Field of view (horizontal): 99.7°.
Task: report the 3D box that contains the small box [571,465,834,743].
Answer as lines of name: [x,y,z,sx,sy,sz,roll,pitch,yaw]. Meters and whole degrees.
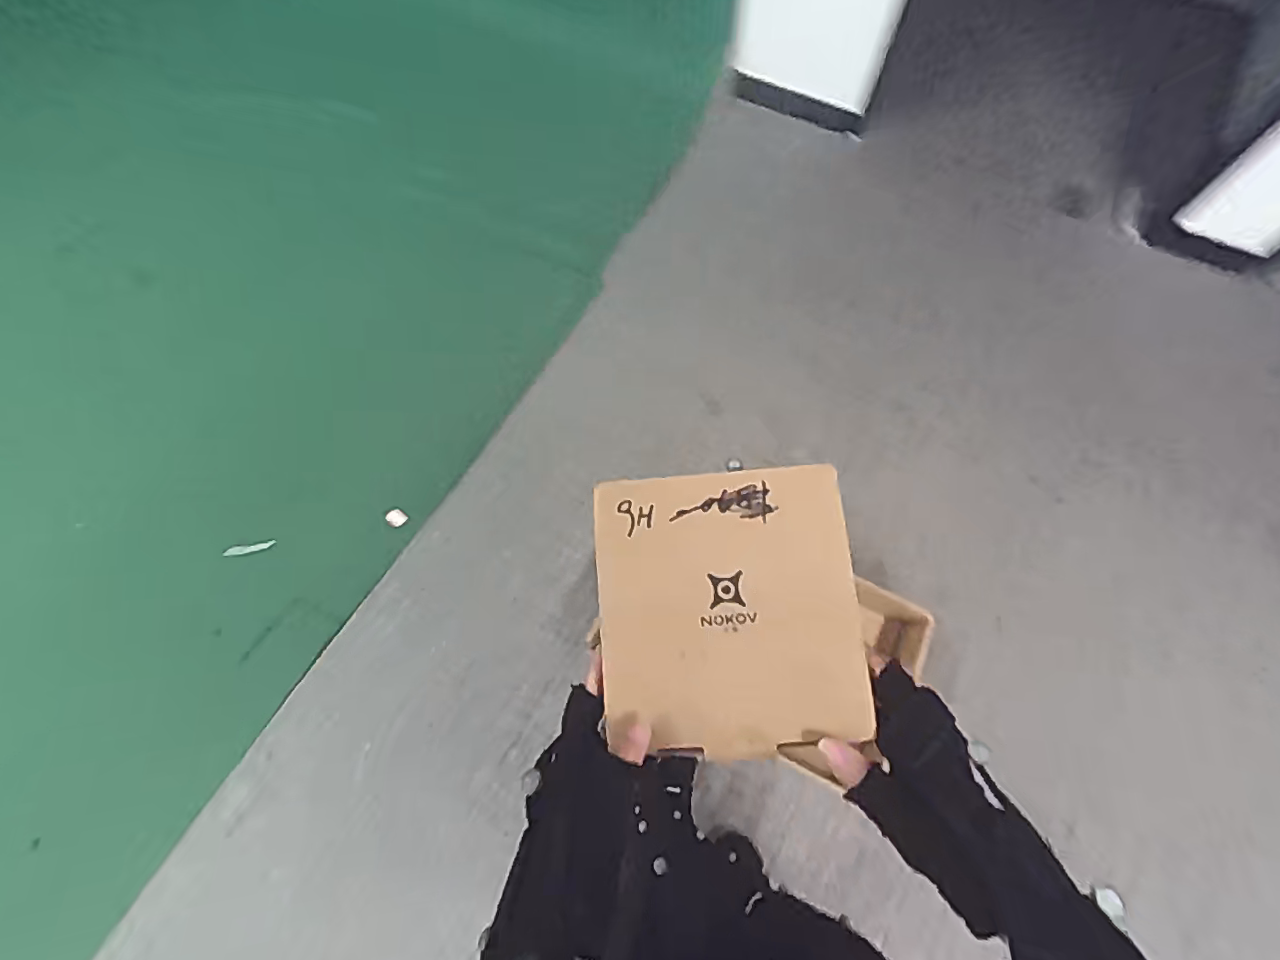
small box: [0.046,0.095,0.450,0.168,0.176,0.179,-7,80,3]
